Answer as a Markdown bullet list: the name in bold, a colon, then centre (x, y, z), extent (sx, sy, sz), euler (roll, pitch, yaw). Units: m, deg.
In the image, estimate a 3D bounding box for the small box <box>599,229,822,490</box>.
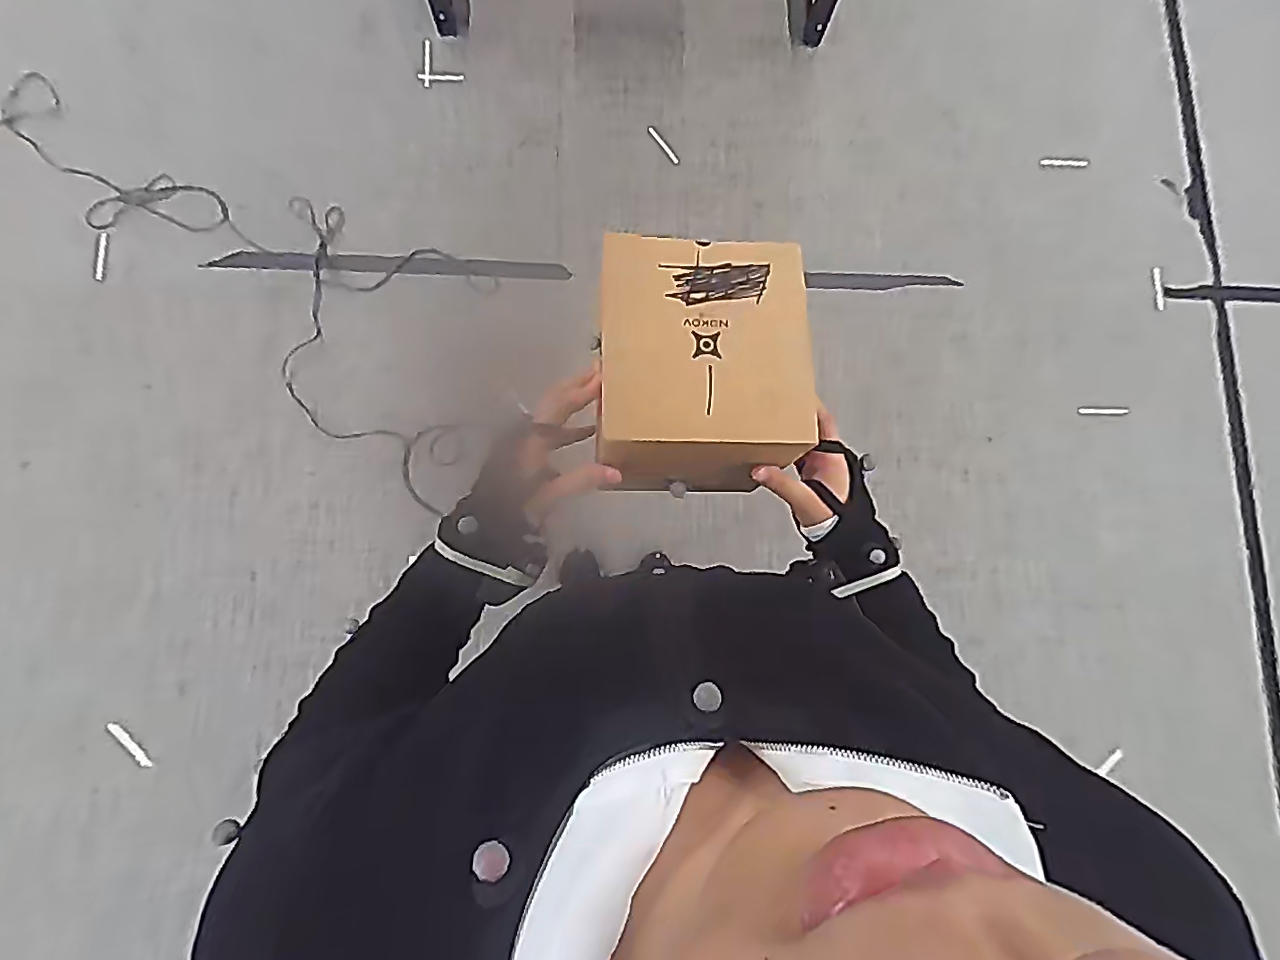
- **small box**: centre (0.047, -0.096, 0.497), extent (0.168, 0.176, 0.179), euler (1, 77, -6)
